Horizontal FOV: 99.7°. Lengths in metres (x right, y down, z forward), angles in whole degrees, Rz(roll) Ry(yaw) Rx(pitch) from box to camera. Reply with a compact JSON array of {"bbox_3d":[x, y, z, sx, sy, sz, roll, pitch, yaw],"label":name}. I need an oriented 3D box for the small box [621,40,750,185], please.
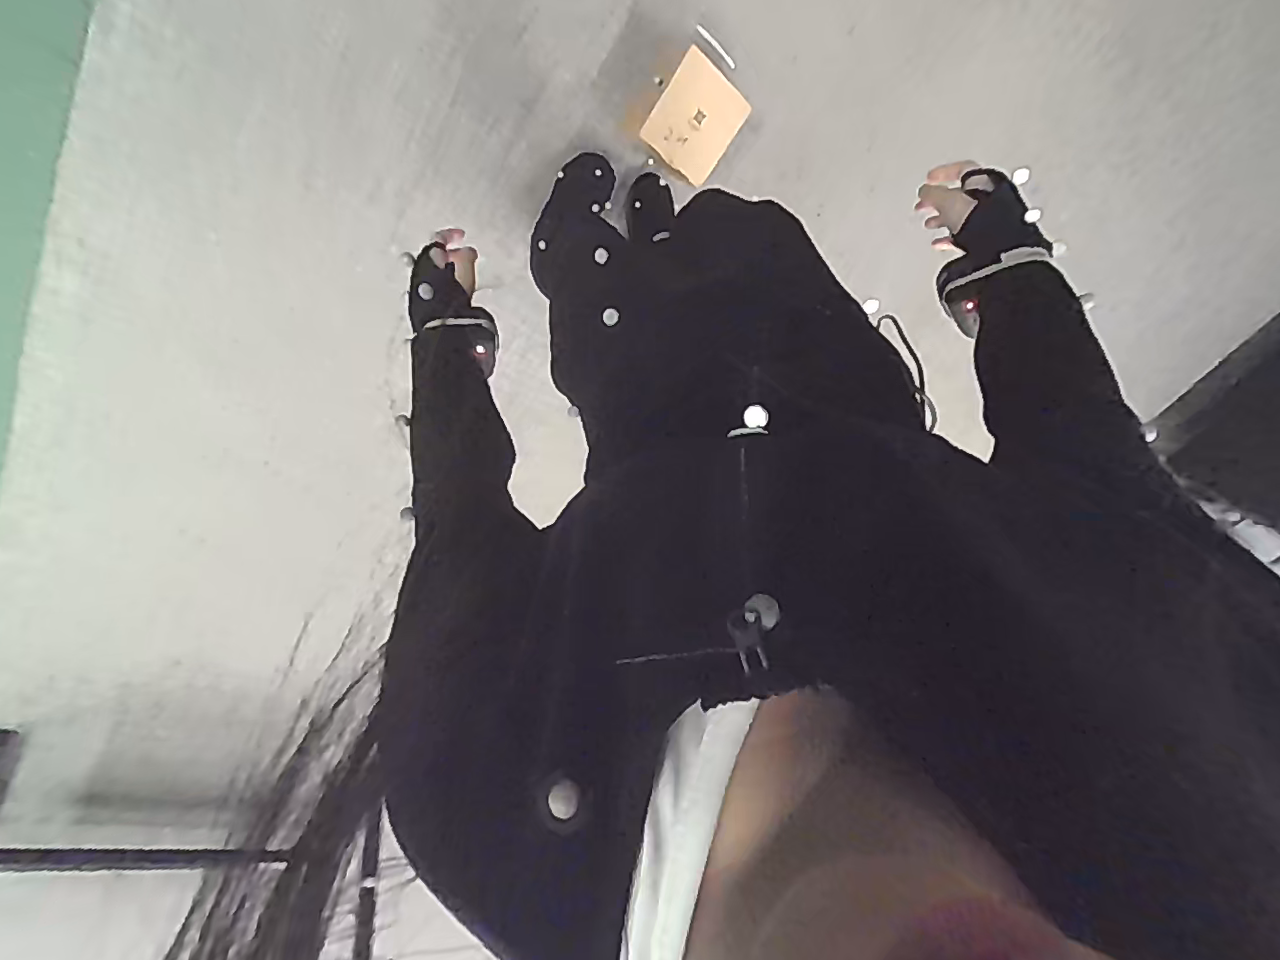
[{"bbox_3d":[0.083,-0.742,1.096,0.168,0.176,0.179,26,115,-33],"label":"small box"}]
